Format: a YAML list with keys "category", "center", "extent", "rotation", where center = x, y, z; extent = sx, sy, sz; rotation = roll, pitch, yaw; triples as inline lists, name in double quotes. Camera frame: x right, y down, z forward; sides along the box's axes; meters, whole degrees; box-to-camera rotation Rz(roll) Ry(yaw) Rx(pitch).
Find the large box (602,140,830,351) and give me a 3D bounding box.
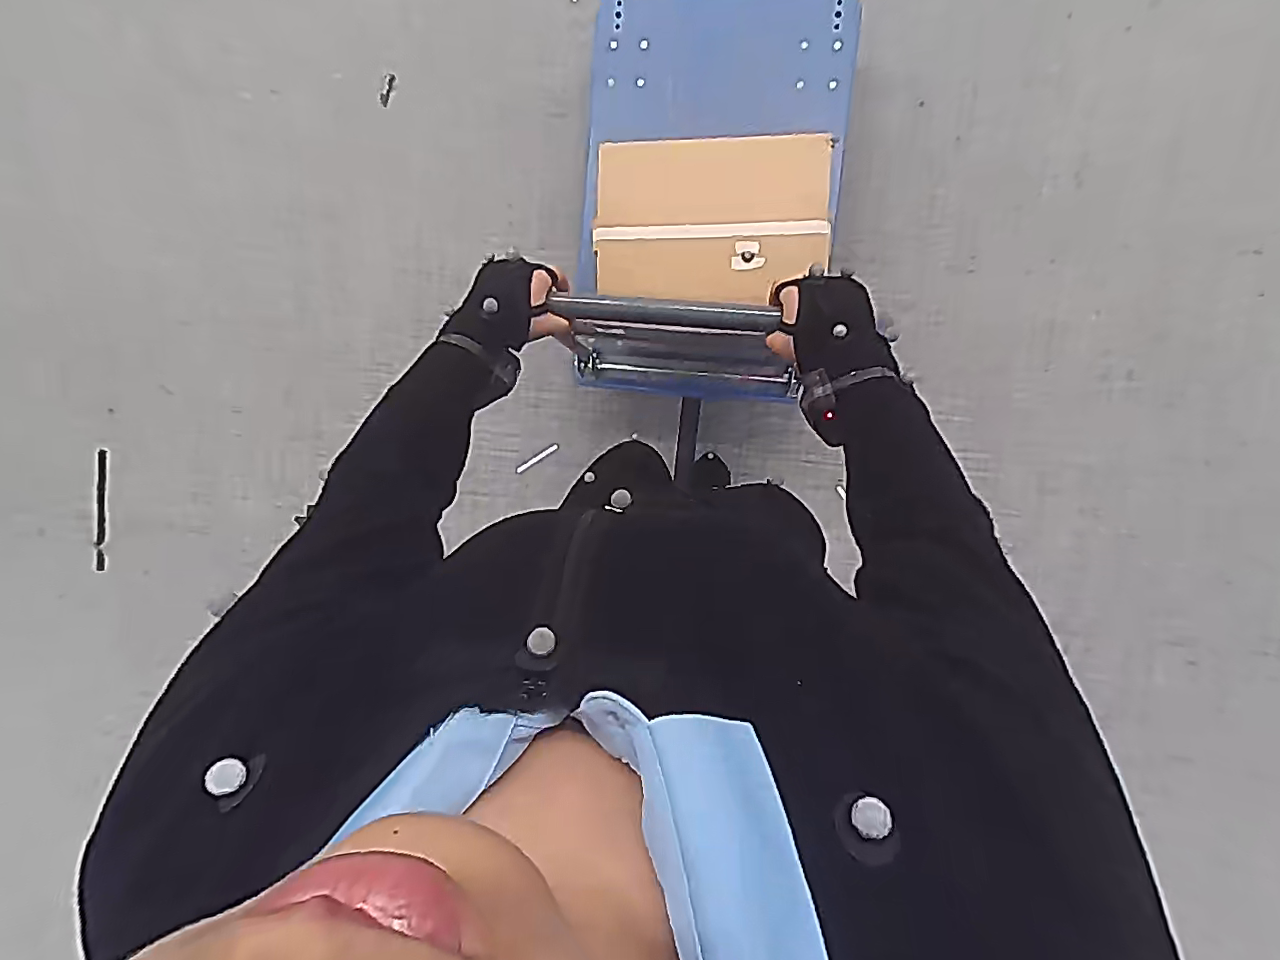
- category: "large box"
  center: [0.142, -0.446, 1.107]
  extent: [0.408, 0.320, 0.320]
  rotation: [2, 96, 6]
